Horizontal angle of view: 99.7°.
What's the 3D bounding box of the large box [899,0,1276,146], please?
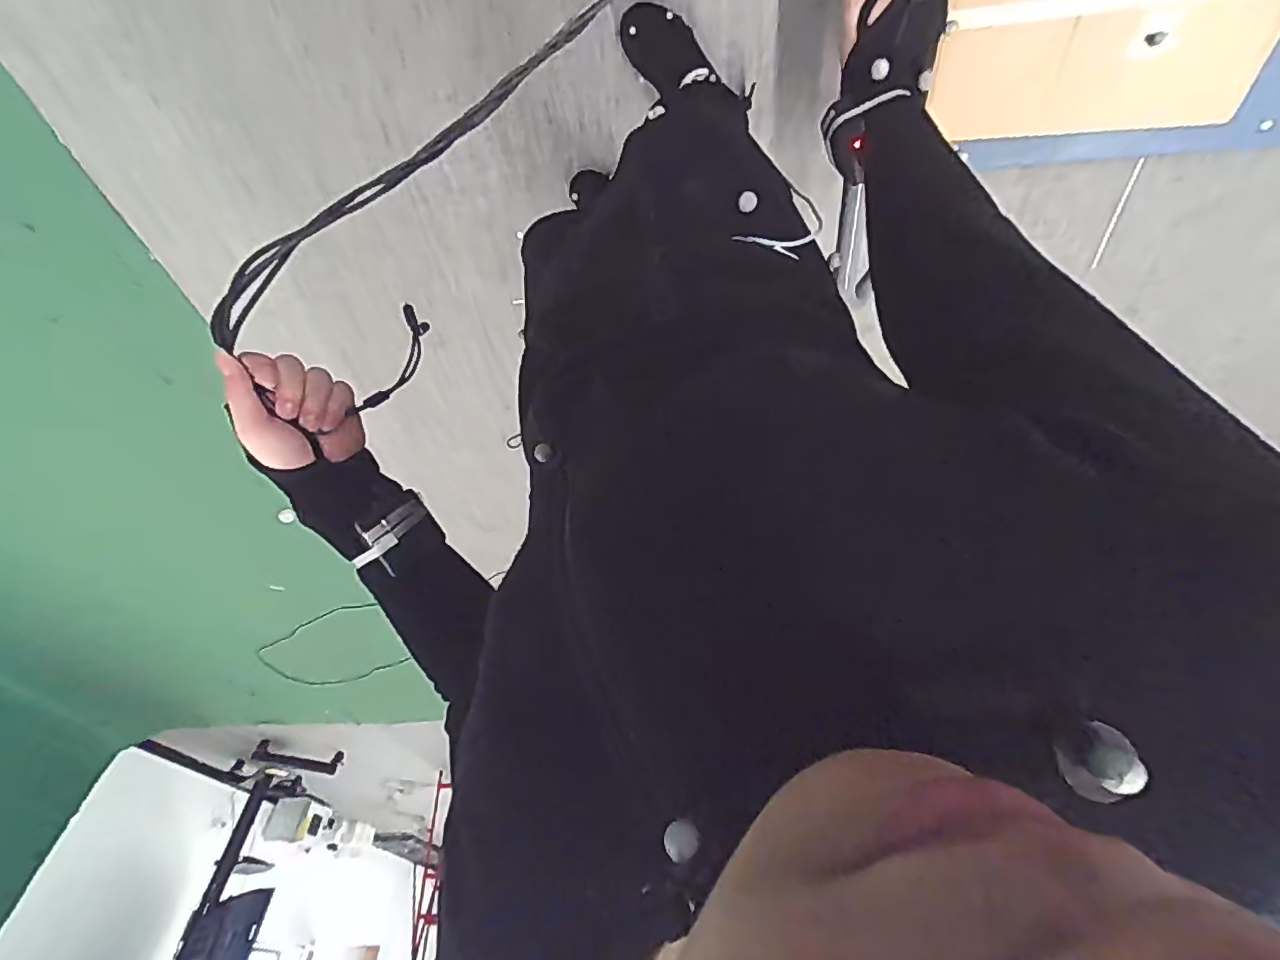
[{"bbox_3d":[0.644,-0.739,0.818,0.408,0.320,0.320,5,138,15],"label":"large box"}]
